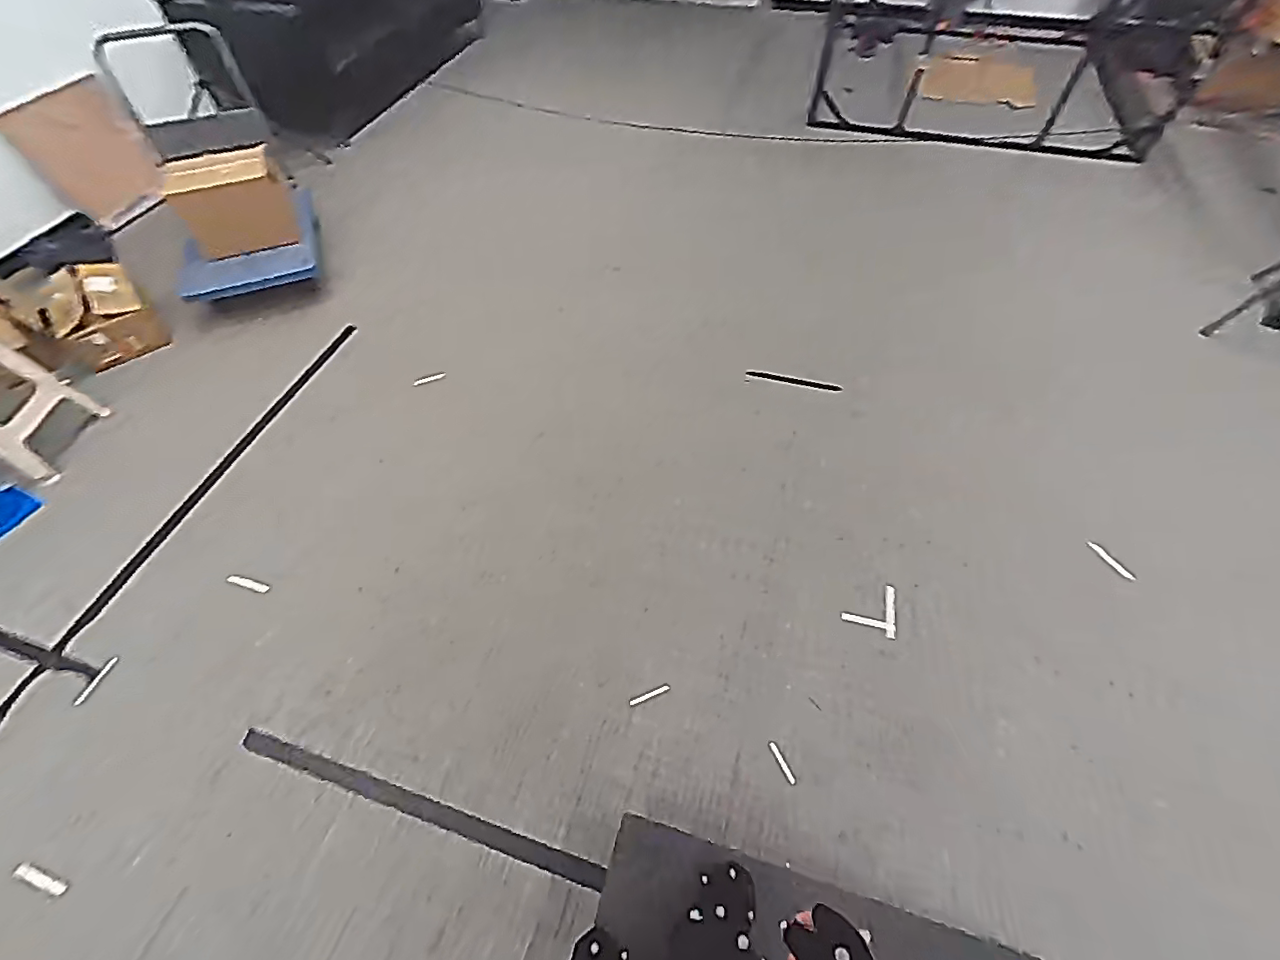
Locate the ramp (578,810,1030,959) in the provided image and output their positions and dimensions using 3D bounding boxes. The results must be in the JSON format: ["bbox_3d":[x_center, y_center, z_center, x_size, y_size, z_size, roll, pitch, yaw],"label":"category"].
[{"bbox_3d":[0.351,1.107,1.104,0.991,0.206,0.509,12,55,9],"label":"ramp"}]
